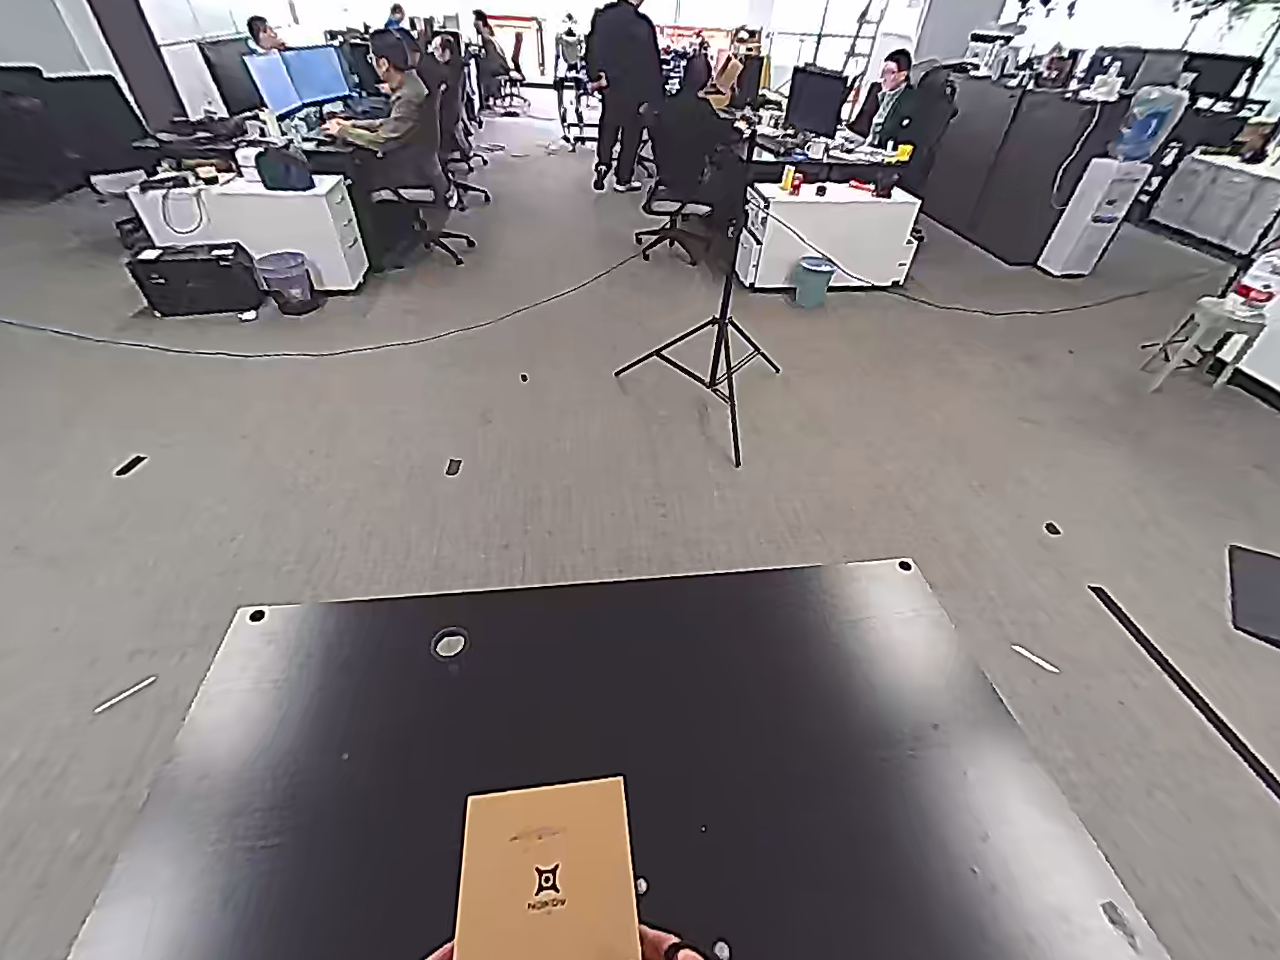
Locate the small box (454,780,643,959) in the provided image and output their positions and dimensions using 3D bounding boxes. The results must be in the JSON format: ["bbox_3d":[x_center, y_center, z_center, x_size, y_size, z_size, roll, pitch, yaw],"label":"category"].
[{"bbox_3d":[-0.089,0.442,0.557,0.168,0.176,0.179,-3,41,-9],"label":"small box"}]
